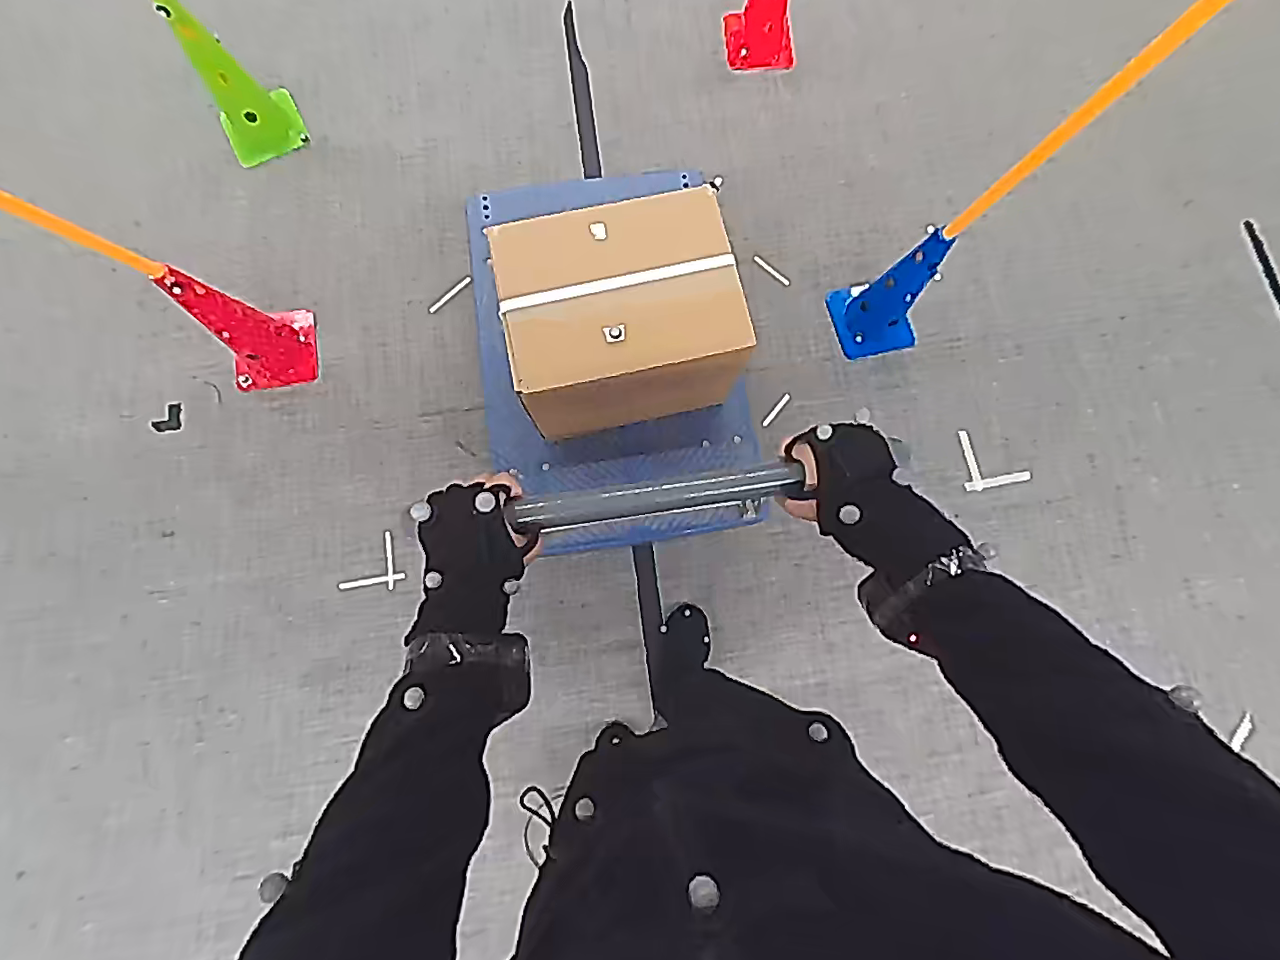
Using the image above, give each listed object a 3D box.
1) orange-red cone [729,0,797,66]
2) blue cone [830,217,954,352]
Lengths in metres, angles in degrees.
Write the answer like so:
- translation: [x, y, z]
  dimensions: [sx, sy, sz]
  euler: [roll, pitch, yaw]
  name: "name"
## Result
- translation: [0.367, -1.333, 1.420]
  dimensions: [0.199, 0.360, 0.198]
  euler: [-1, 80, -3]
  name: "orange-red cone"
- translation: [0.620, -0.470, 1.276]
  dimensions: [0.193, 0.380, 0.192]
  euler: [-12, 79, -4]
  name: "blue cone"
